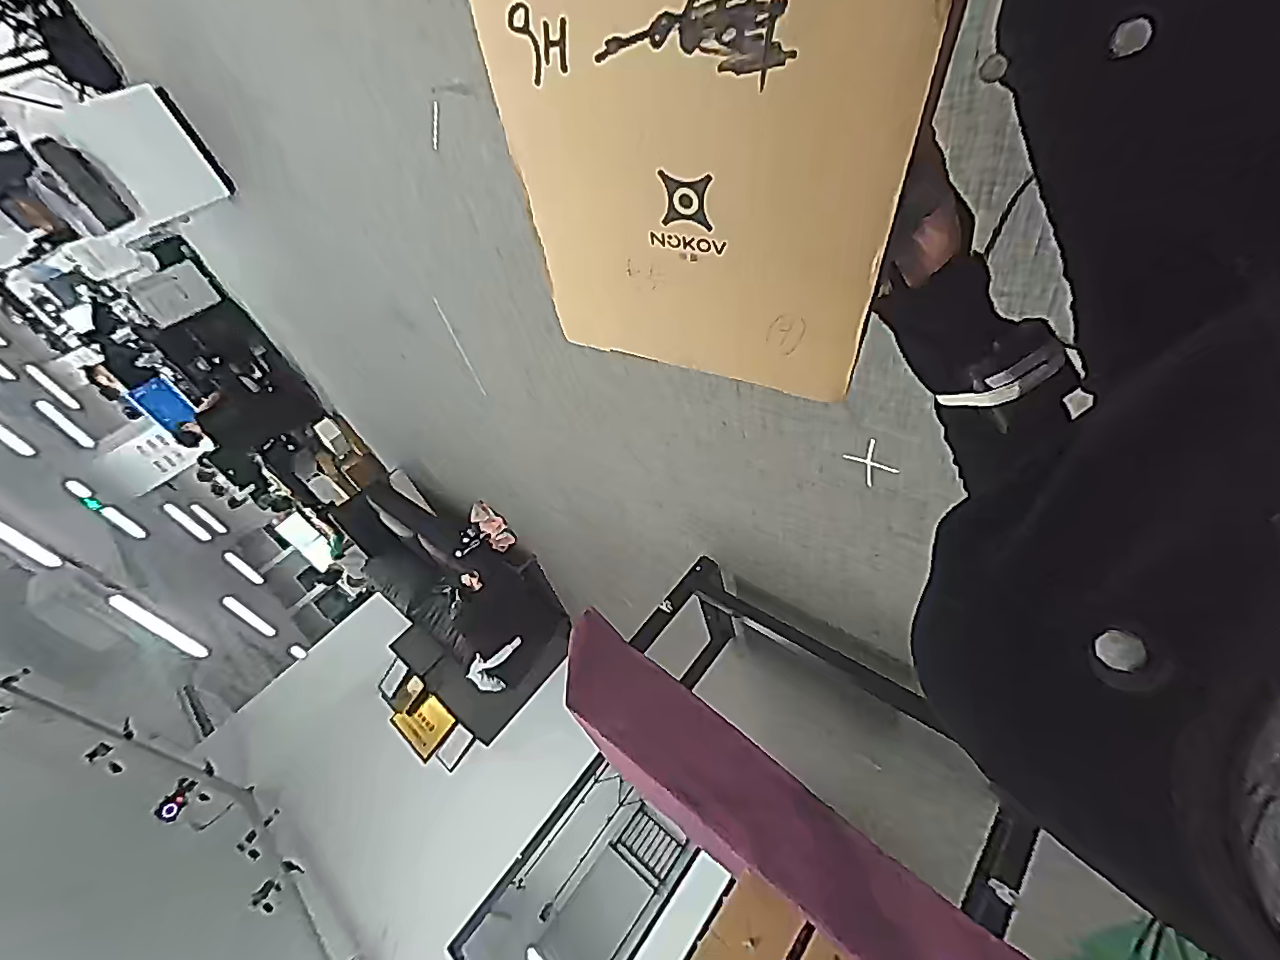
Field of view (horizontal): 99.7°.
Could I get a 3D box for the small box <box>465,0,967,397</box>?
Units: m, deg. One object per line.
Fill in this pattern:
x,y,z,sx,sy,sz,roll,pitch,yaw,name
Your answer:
0.050,-0.175,0.265,0.168,0.176,0.179,17,148,17,small box
